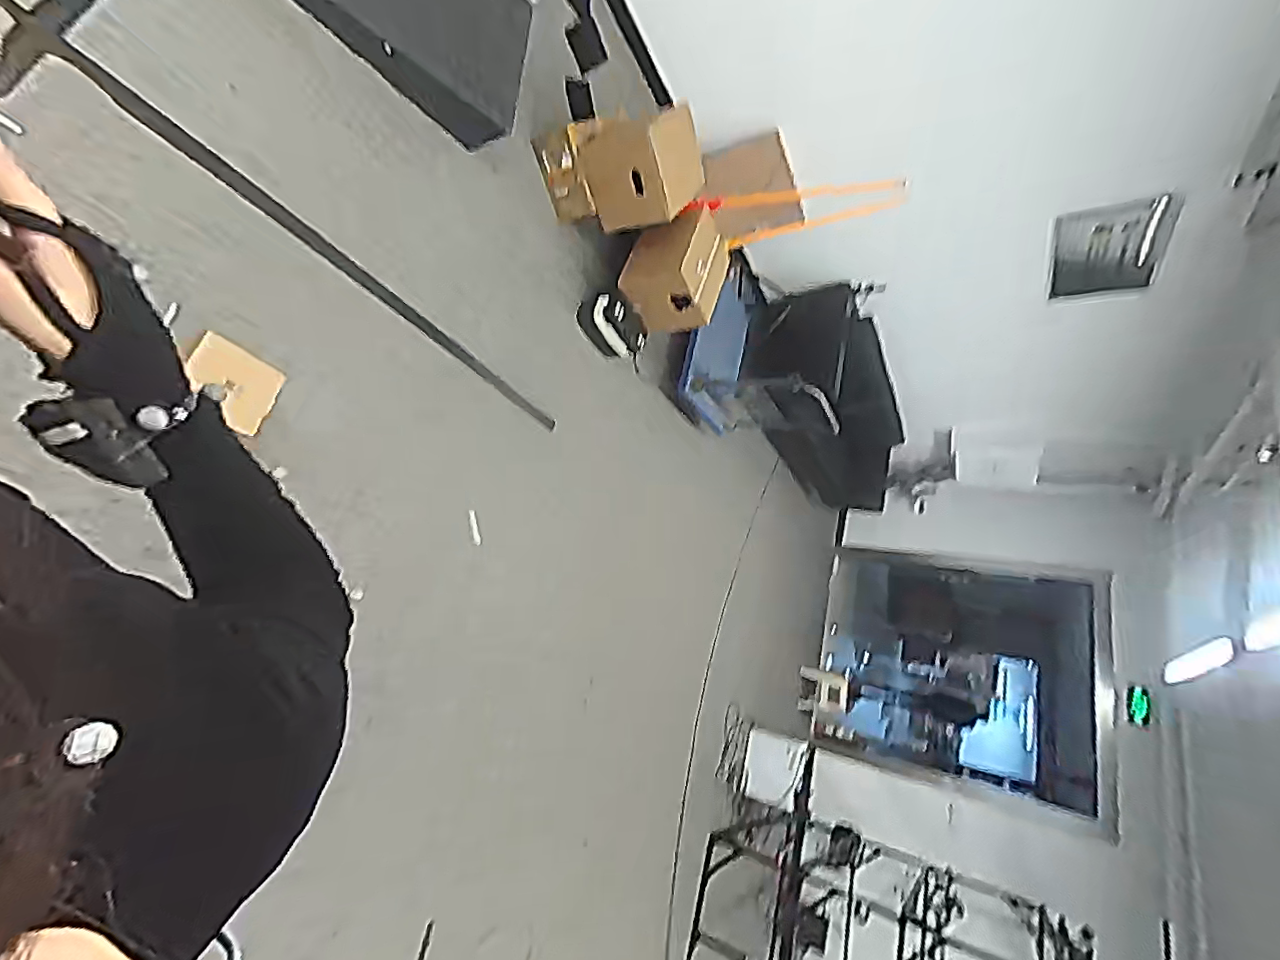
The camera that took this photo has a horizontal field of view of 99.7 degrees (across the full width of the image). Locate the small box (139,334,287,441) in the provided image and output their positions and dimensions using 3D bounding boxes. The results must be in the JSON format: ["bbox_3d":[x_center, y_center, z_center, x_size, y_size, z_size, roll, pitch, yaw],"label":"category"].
[{"bbox_3d":[-0.951,-0.201,1.208,0.179,0.176,0.168,44,56,-49],"label":"small box"}]
